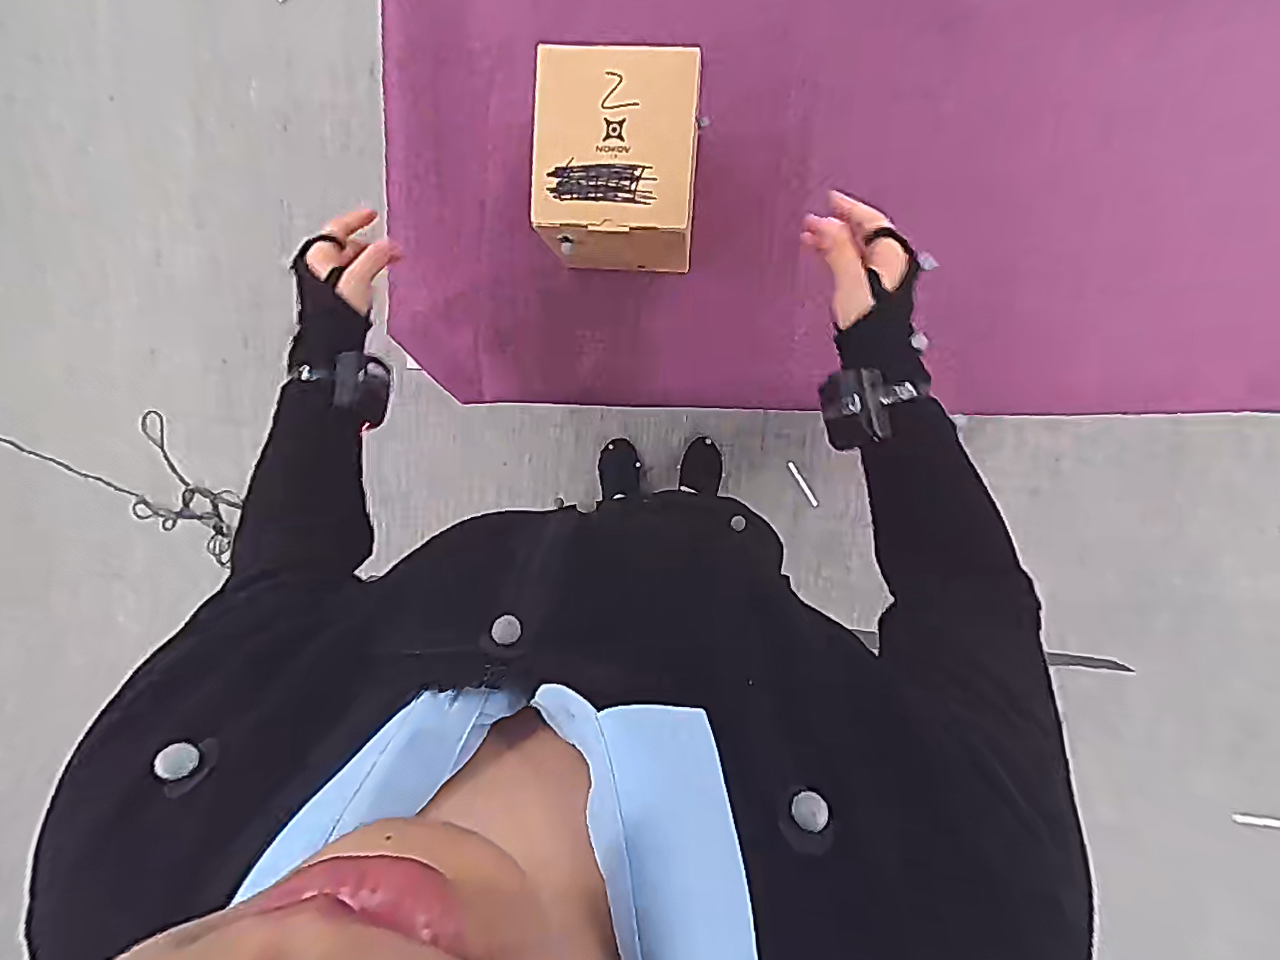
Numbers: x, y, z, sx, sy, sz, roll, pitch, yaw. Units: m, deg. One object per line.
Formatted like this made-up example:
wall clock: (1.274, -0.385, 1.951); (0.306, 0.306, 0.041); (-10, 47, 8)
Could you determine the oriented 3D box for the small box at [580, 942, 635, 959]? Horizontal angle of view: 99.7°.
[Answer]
small box: (-0.109, 1.500, 1.557); (0.168, 0.176, 0.179); (9, 97, 3)
